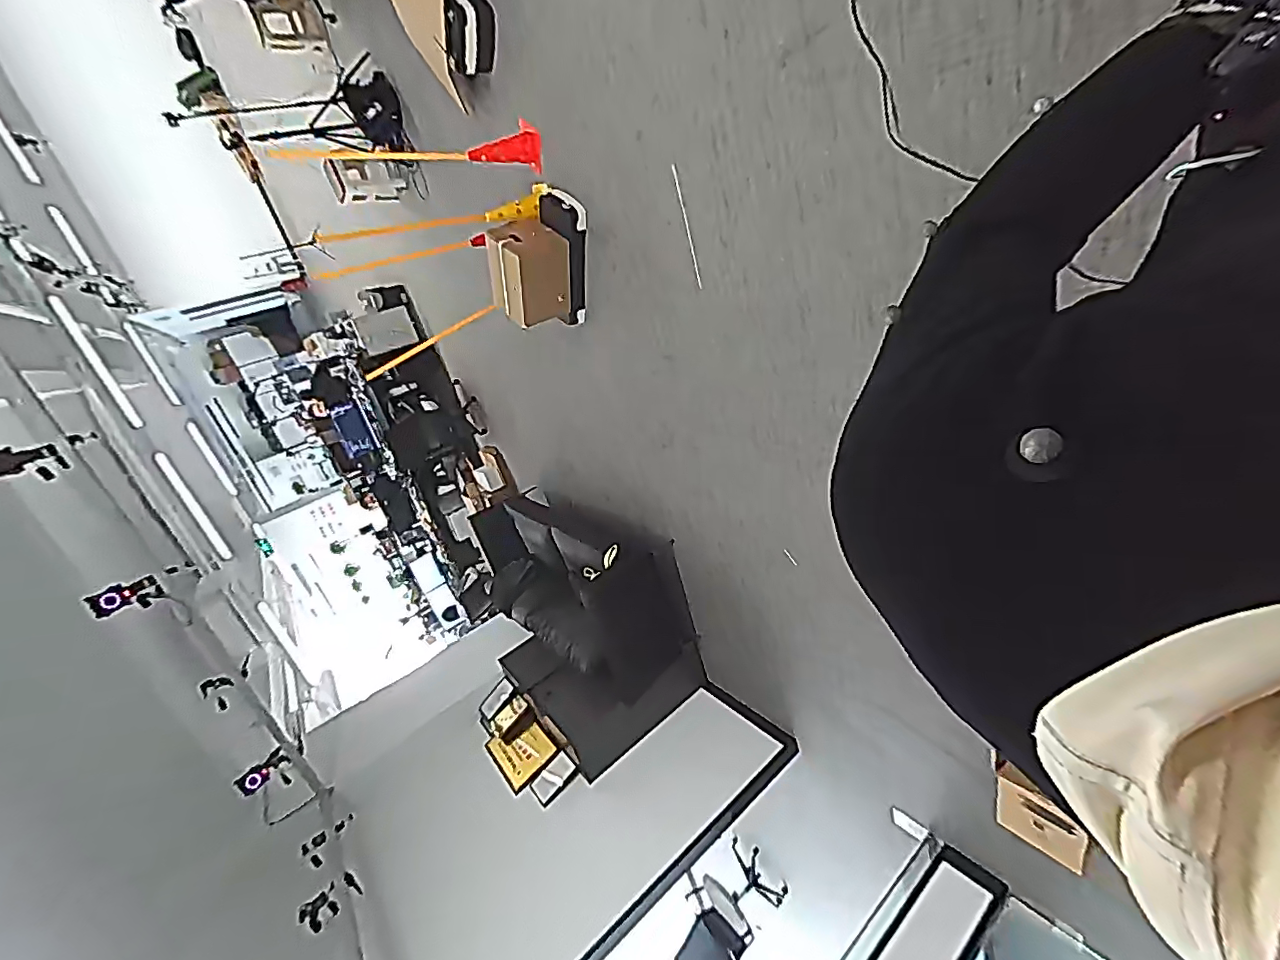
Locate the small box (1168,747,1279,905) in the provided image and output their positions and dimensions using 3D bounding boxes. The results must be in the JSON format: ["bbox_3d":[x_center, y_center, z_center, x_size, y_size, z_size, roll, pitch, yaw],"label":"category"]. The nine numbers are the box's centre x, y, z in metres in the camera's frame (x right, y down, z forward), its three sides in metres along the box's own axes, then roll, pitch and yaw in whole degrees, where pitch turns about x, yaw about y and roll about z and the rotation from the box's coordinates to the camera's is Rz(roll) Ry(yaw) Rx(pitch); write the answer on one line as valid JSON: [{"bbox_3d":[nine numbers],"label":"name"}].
[{"bbox_3d":[1.202,0.675,1.072,0.179,0.176,0.168,19,132,54],"label":"small box"}]
